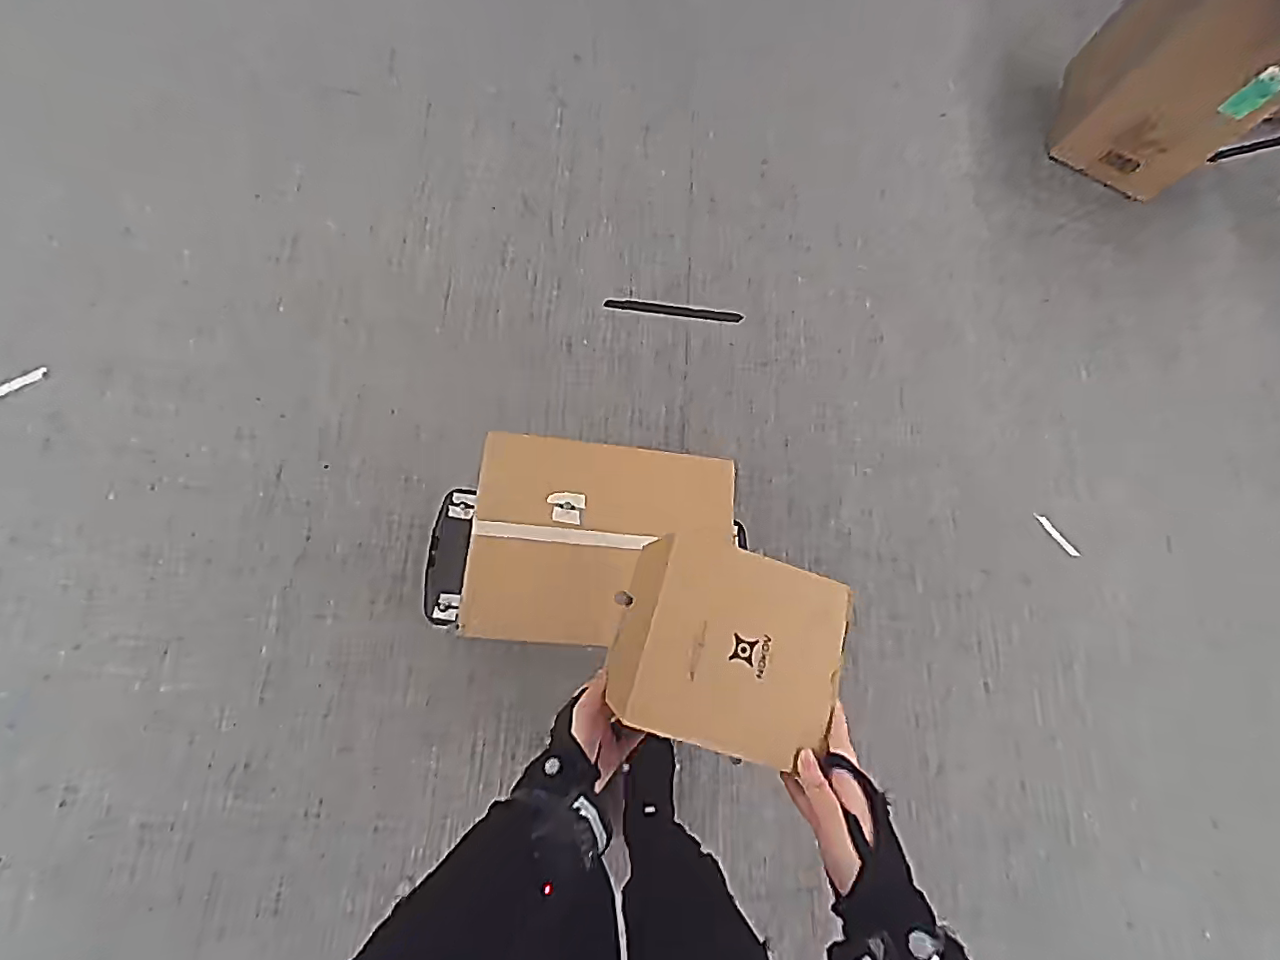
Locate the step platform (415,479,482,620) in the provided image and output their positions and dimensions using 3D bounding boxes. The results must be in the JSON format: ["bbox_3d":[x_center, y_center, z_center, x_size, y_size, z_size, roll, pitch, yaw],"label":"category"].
[{"bbox_3d":[-0.120,0.205,1.187,0.684,0.204,0.286,11,74,-5],"label":"step platform"}]

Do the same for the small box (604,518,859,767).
[{"bbox_3d":[0.078,0.152,0.530,0.179,0.176,0.168,20,73,-6],"label":"small box"}]

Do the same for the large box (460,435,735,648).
[{"bbox_3d":[-0.067,0.130,0.965,0.408,0.320,0.320,6,74,-6],"label":"large box"}]
